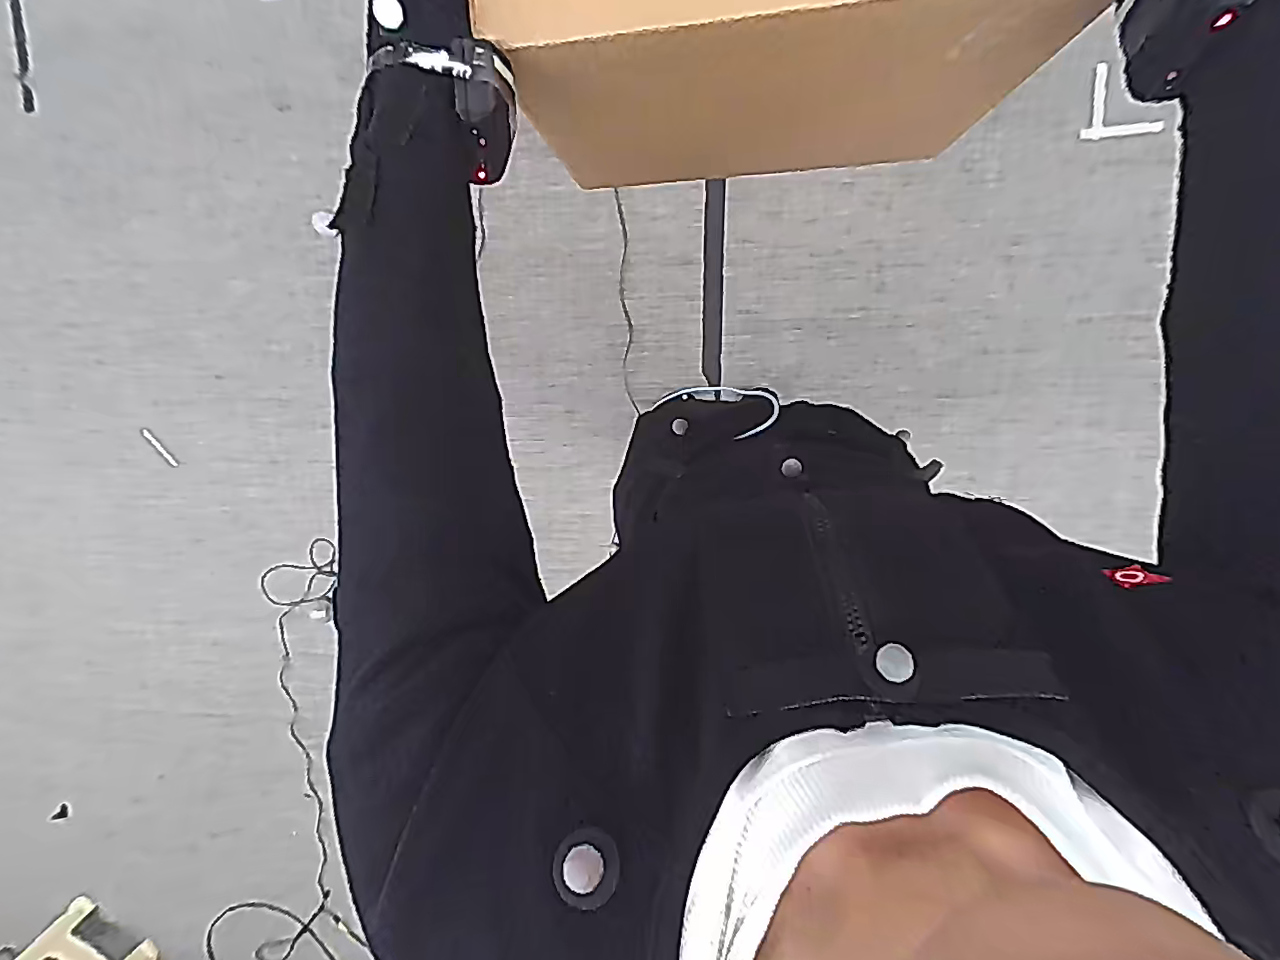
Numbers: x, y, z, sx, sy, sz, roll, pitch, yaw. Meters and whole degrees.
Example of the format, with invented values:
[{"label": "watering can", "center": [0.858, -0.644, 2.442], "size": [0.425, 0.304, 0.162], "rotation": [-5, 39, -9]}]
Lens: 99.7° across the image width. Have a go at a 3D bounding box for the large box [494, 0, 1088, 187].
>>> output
[{"label": "large box", "center": [0.104, -0.474, 0.449], "size": [0.408, 0.320, 0.320], "rotation": [-2, 103, 6]}]
